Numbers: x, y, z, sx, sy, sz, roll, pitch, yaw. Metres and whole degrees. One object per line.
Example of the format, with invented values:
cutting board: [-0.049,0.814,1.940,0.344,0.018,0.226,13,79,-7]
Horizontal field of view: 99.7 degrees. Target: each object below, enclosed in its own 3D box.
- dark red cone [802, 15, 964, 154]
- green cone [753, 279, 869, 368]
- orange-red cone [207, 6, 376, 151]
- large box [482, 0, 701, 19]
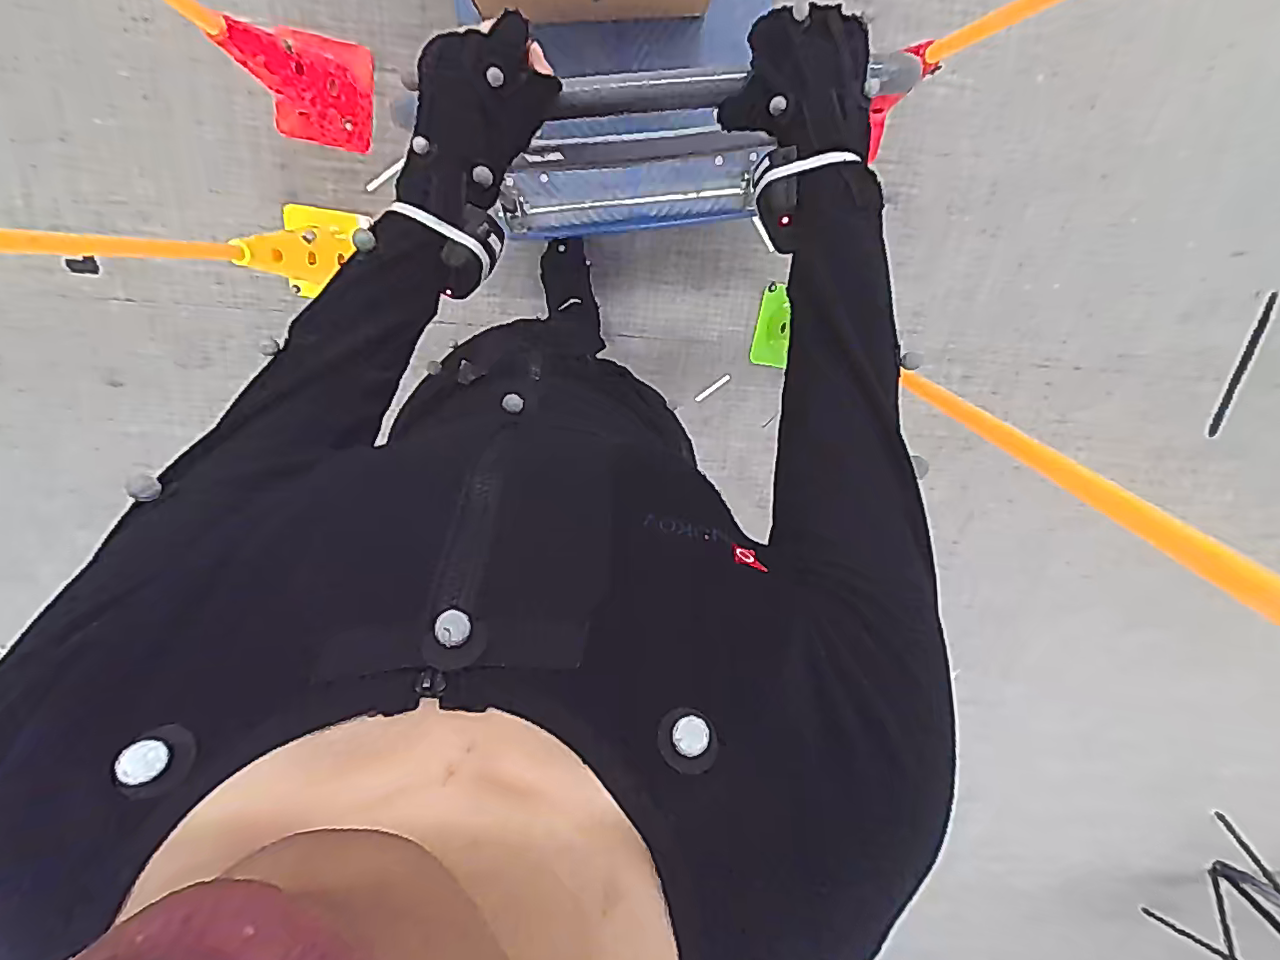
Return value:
dark red cone: [0.474,-0.774,1.027,0.201,0.394,0.202,3,112,-6]
green cone: [0.411,-0.333,1.218,0.202,0.368,0.200,7,111,-7]
orange-red cone: [-0.660,-0.773,0.995,0.198,0.360,0.199,10,109,-8]
large box: [-0.082,-0.940,0.799,0.408,0.320,0.320,-4,112,0]
